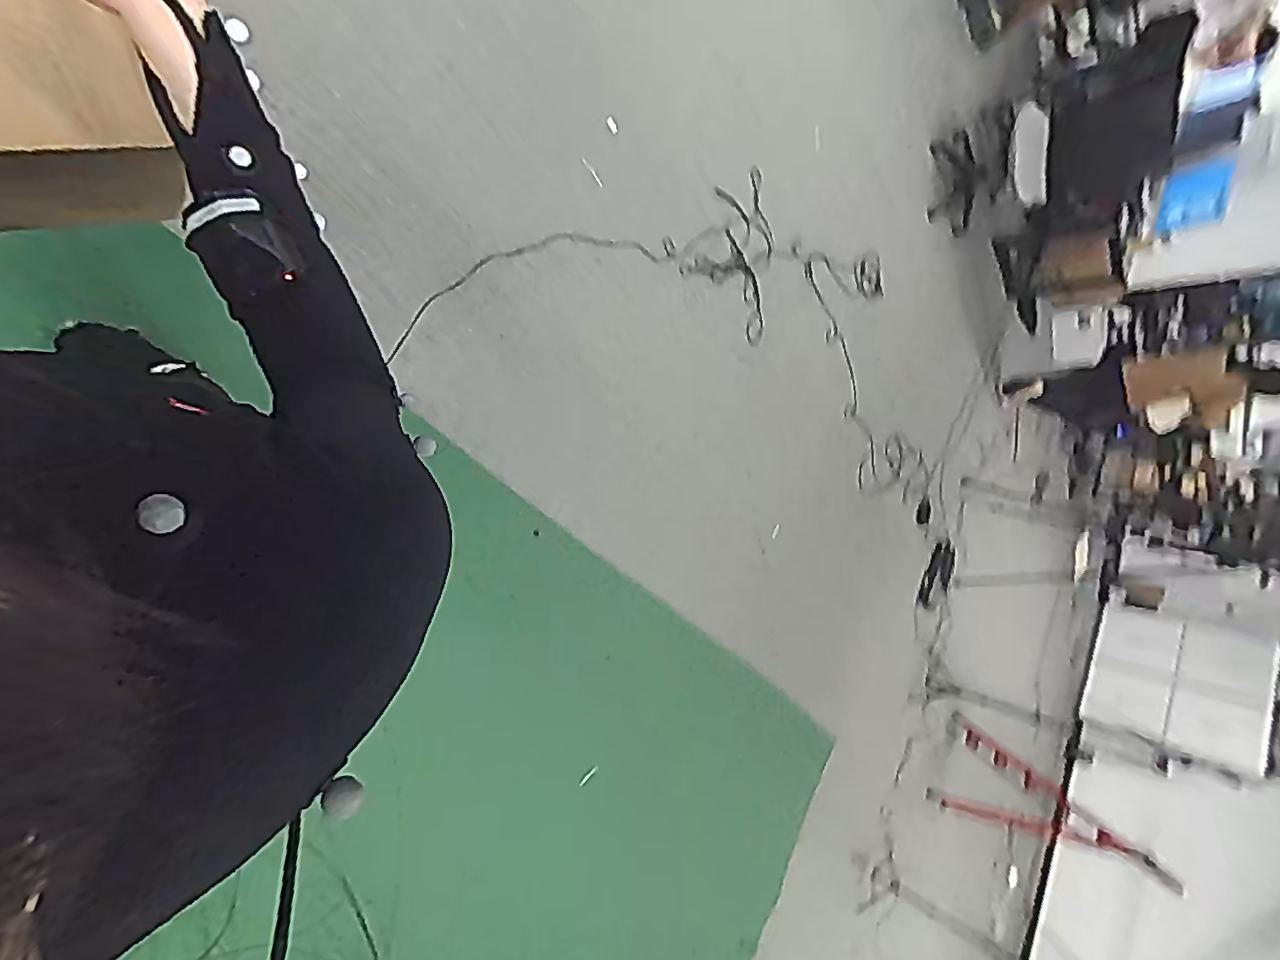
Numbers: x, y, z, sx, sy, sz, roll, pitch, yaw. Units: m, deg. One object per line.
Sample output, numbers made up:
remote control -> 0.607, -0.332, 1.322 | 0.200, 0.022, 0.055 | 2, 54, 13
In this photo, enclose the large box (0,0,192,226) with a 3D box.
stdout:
large box -> -0.600, -0.341, 0.349 | 0.408, 0.320, 0.320 | -24, 116, -33
